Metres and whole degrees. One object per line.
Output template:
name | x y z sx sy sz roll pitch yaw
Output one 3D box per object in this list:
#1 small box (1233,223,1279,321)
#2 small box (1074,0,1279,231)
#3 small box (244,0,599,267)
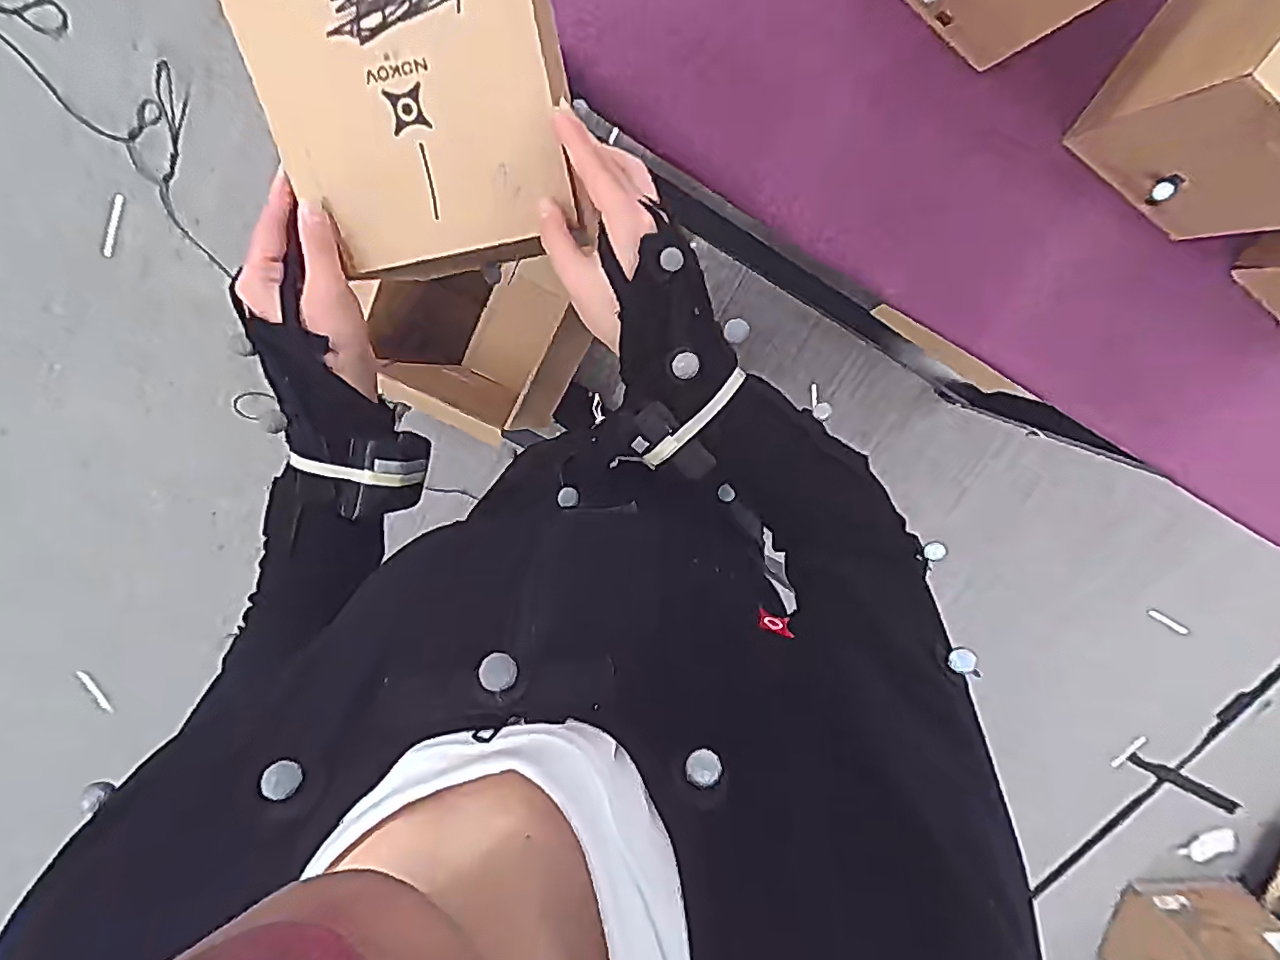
small box | 0.721 -0.212 0.478 0.179 0.176 0.168 32 104 -11
small box | 0.515 -0.328 0.430 0.168 0.176 0.179 30 106 -11
small box | -0.126 -0.254 0.376 0.168 0.176 0.179 -9 111 3
